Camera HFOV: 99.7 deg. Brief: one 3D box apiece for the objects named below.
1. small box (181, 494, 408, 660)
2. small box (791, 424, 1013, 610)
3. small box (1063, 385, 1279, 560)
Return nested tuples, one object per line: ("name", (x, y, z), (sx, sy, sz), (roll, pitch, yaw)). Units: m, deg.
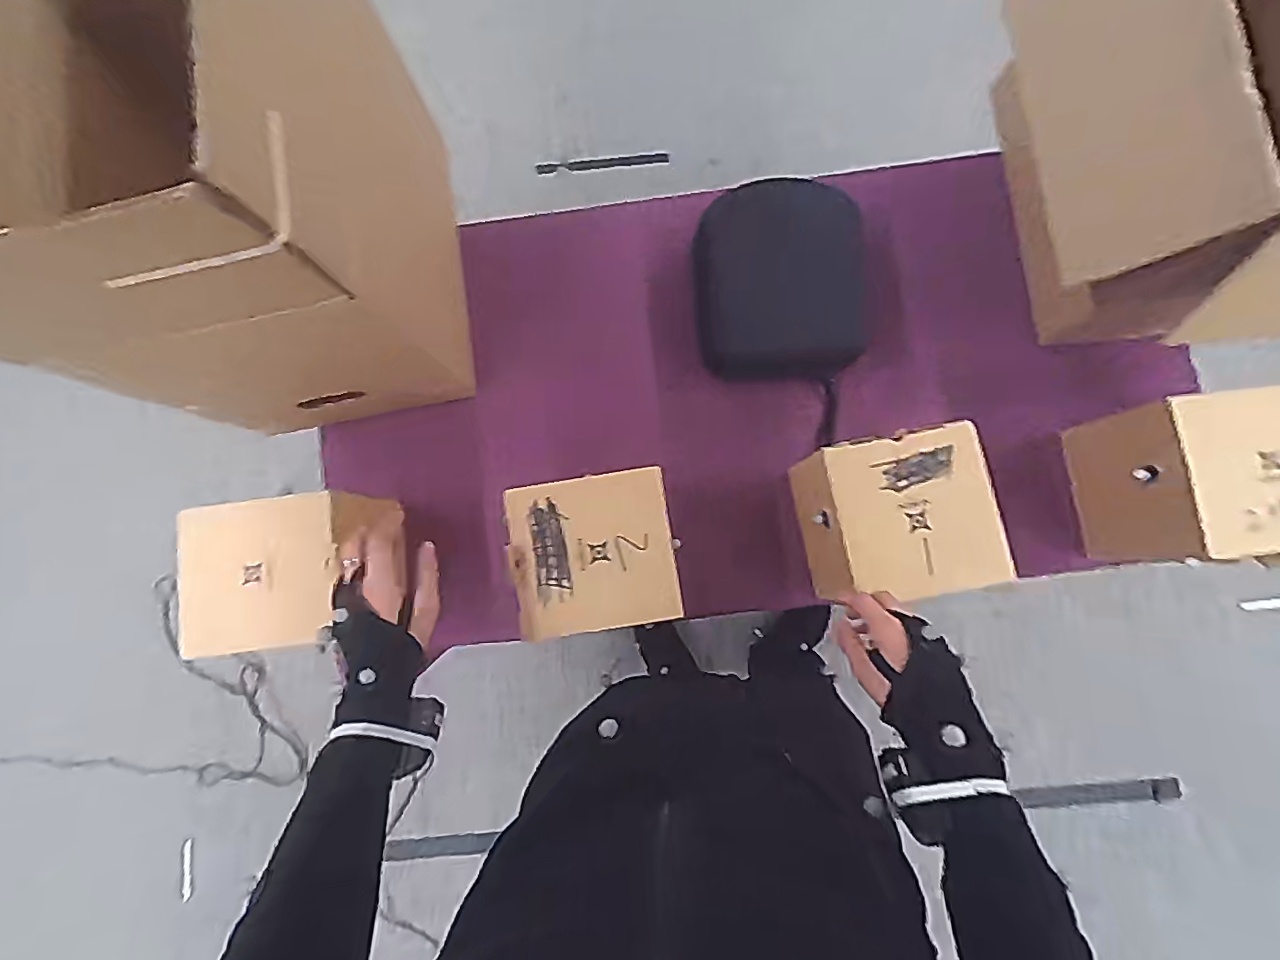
("small box", (-0.414, 0.117, 0.670), (0.179, 0.176, 0.168), (-8, 82, 0))
("small box", (0.294, 0.048, 0.650), (0.168, 0.176, 0.179), (-11, 83, 1))
("small box", (0.650, 0.000, 0.639), (0.168, 0.176, 0.179), (-6, 82, 3))
